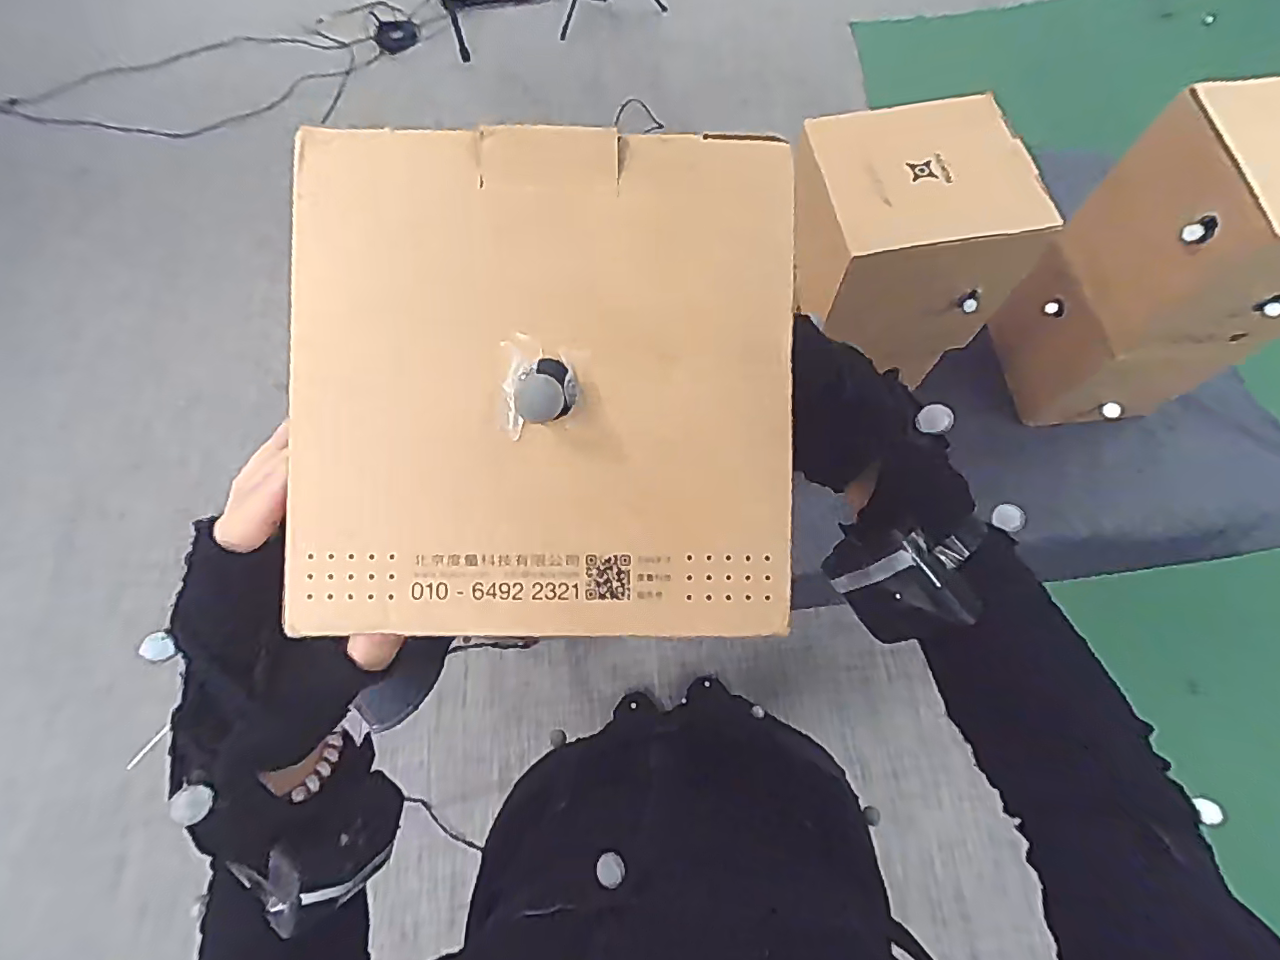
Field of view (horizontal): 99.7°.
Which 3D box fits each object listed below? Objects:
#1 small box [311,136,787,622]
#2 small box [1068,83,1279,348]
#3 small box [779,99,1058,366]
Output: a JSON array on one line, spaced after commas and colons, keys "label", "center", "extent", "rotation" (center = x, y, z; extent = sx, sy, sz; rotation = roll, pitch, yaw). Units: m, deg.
[{"label": "small box", "center": [-0.031, -0.032, 0.267], "extent": [0.168, 0.179, 0.176], "rotation": [2, 89, -1]}, {"label": "small box", "center": [0.573, -0.242, 0.524], "extent": [0.168, 0.176, 0.179], "rotation": [-3, 69, 2]}, {"label": "small box", "center": [0.253, -0.236, 0.544], "extent": [0.179, 0.176, 0.168], "rotation": [-8, 68, 1]}]
